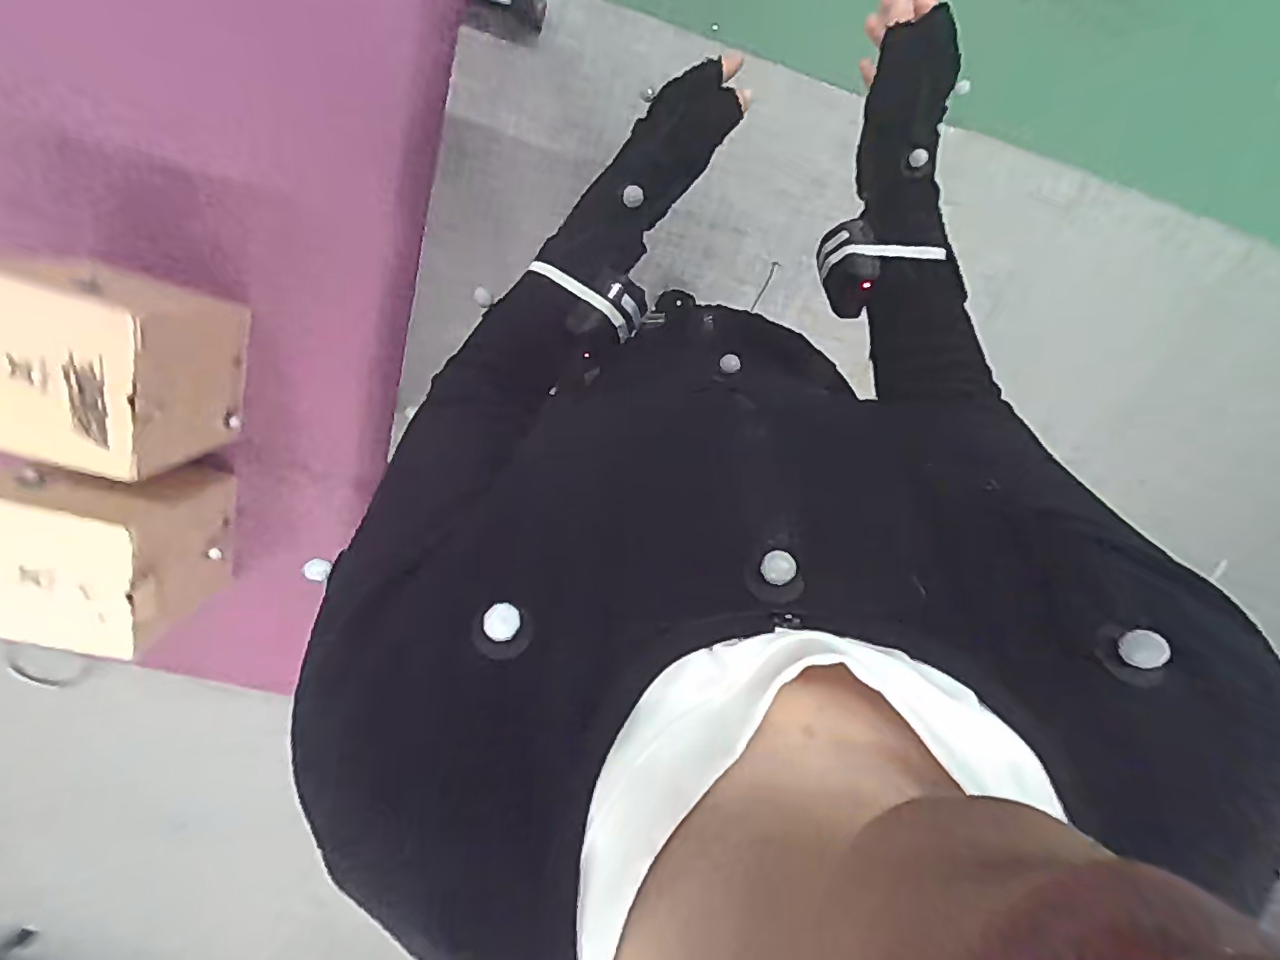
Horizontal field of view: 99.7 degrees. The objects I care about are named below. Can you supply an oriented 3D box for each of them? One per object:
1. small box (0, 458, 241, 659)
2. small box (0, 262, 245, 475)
[{"bbox_3d":[-0.618,0.075,0.633,0.179,0.176,0.168,15,107,-8],"label":"small box"},{"bbox_3d":[-0.556,-0.127,0.573,0.179,0.176,0.168,13,111,-10],"label":"small box"}]
